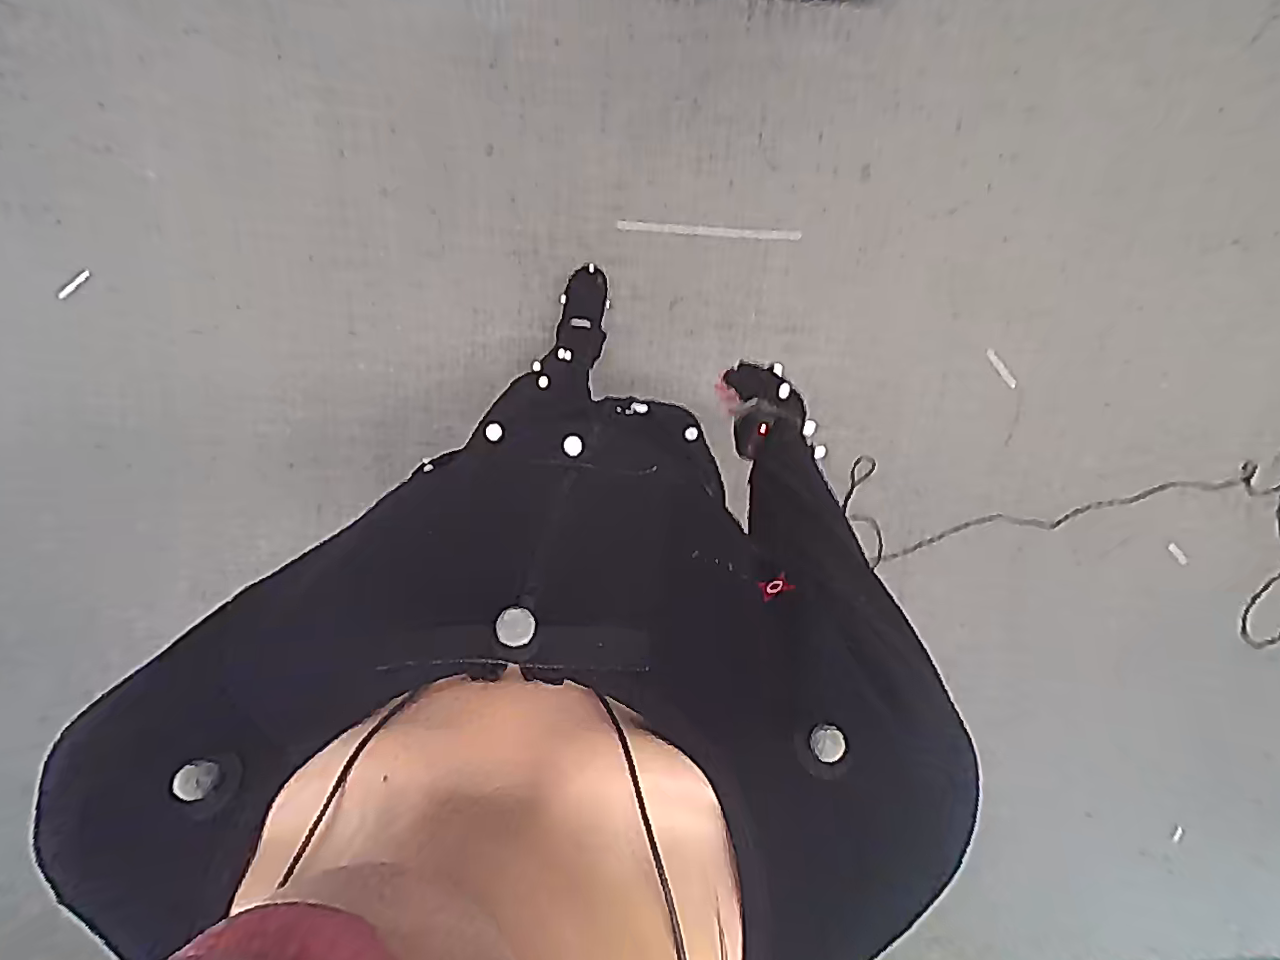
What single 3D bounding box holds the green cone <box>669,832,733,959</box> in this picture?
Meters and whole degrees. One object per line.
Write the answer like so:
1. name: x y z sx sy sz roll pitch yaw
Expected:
1. green cone: 0.213 1.276 1.606 0.200 0.368 0.202 4 100 -6
